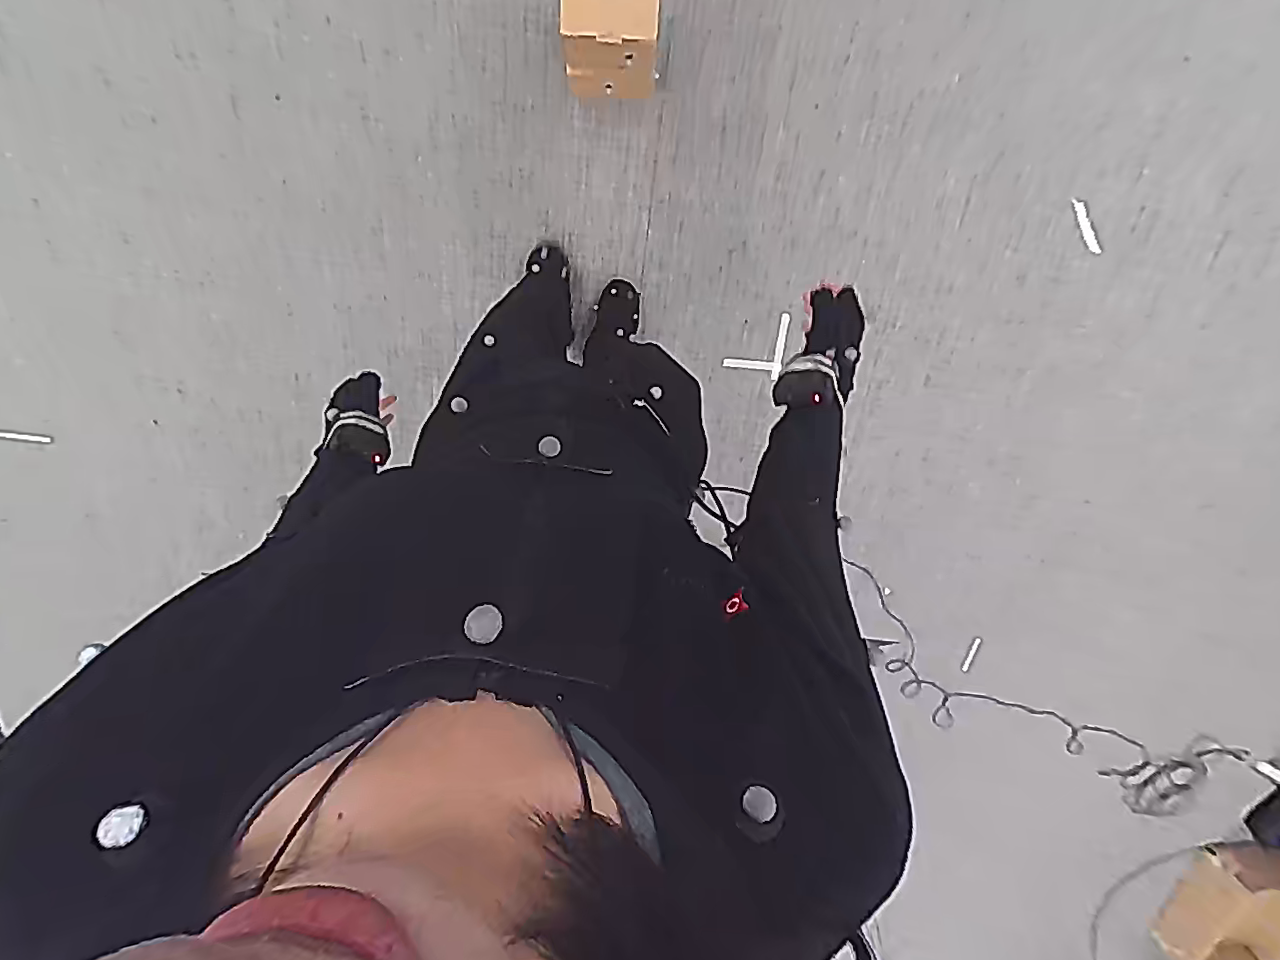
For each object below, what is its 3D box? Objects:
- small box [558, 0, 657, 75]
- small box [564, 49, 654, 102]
[{"bbox_3d":[-0.053,-0.845,0.951,0.168,0.176,0.179,2,111,-4],"label":"small box"},{"bbox_3d":[-0.063,-0.894,1.106,0.179,0.176,0.168,-1,112,-1],"label":"small box"}]
